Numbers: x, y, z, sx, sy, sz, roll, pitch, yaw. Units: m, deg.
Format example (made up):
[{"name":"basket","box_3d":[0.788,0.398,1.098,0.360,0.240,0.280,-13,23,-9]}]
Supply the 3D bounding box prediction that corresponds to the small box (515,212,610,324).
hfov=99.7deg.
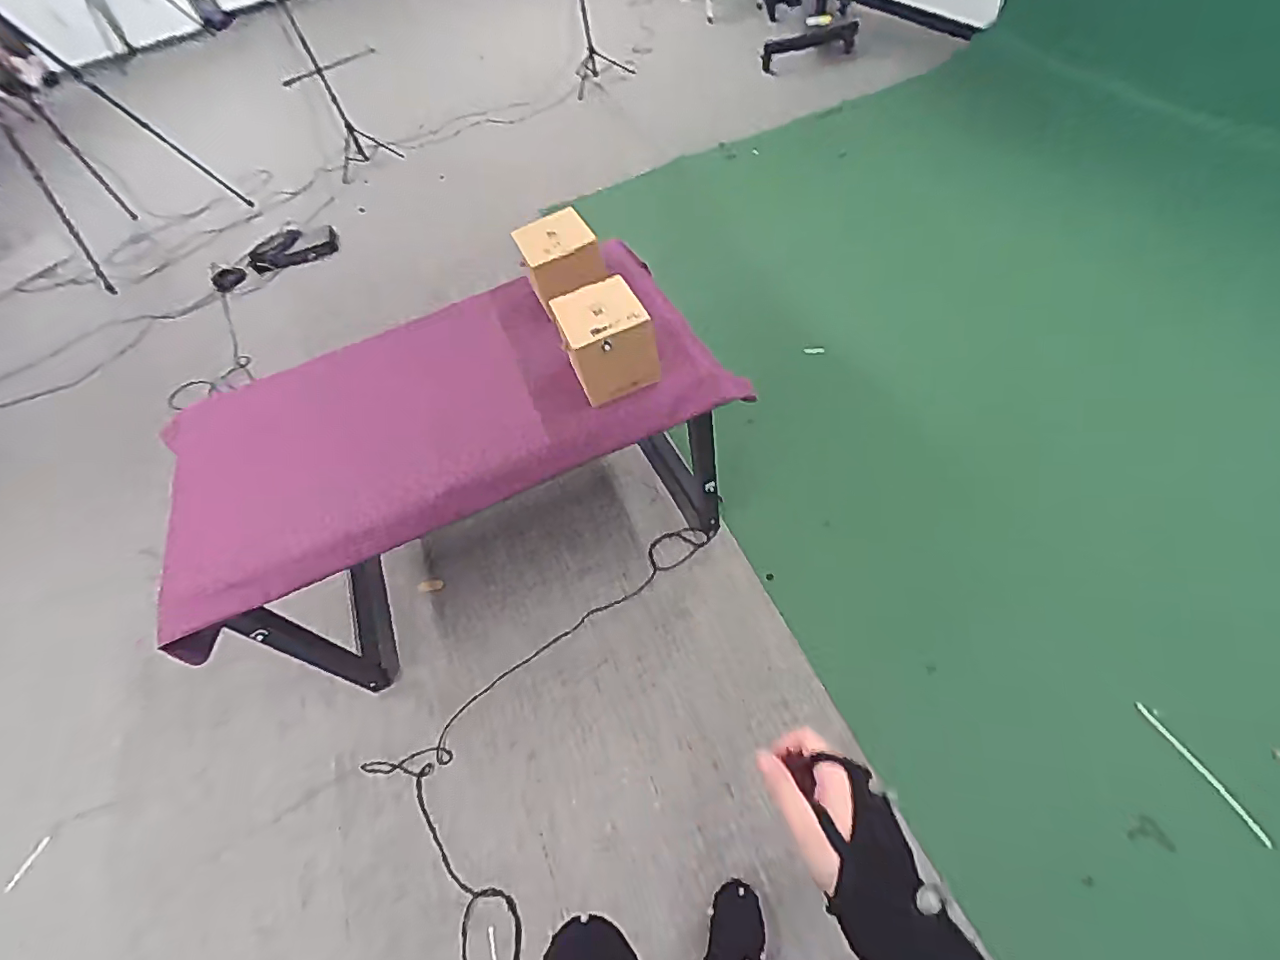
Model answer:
[{"name":"small box","box_3d":[-0.185,-0.519,1.336,0.168,0.176,0.179,-26,55,-5]}]

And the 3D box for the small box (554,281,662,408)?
[{"name":"small box","box_3d":[-0.065,-0.286,1.153,0.168,0.176,0.179,-23,52,-5]}]
